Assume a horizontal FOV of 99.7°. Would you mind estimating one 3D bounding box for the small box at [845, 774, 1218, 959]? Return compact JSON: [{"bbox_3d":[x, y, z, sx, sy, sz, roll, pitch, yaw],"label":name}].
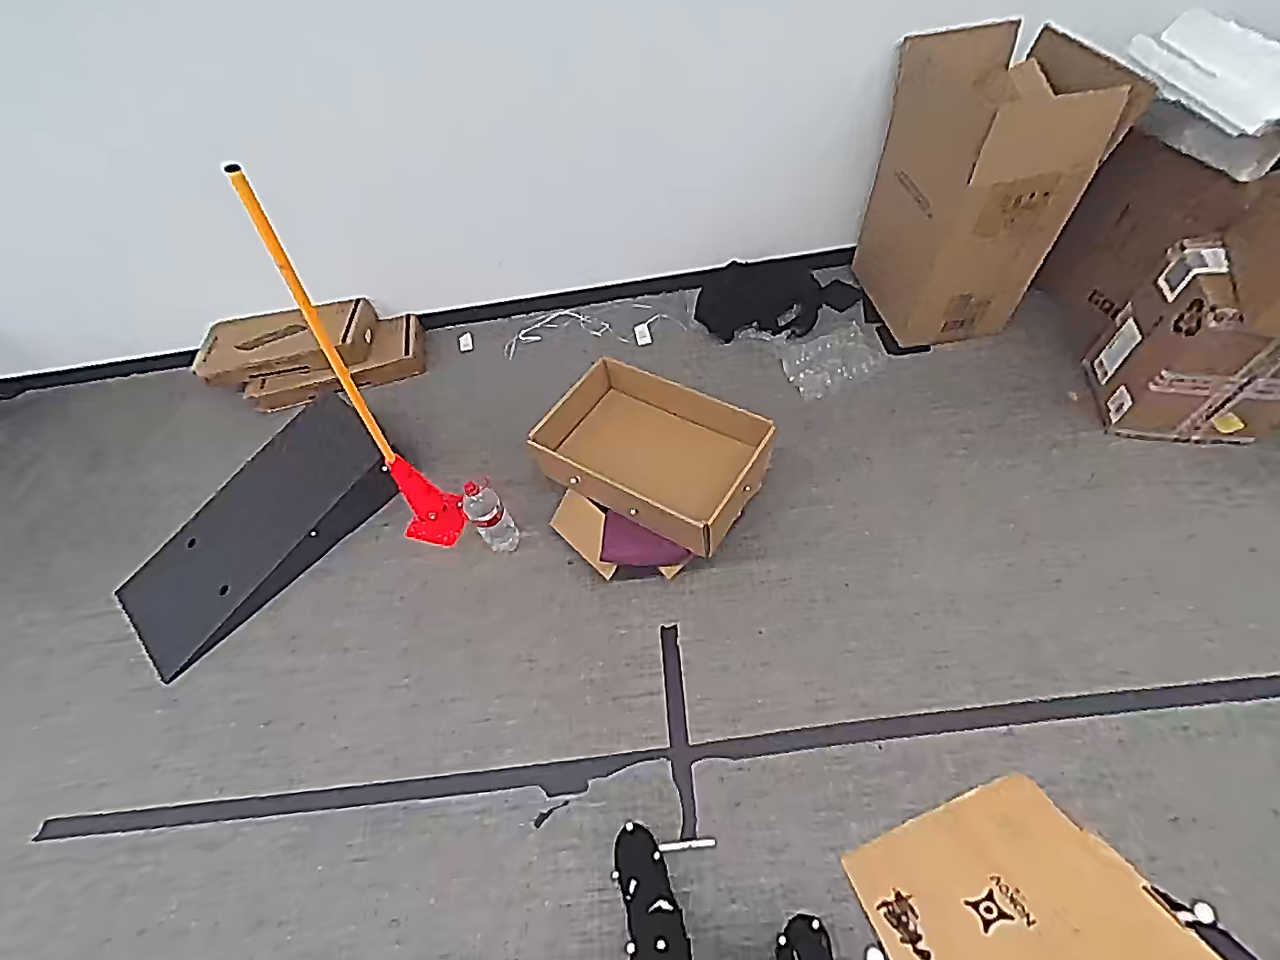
[{"bbox_3d":[0.293,0.379,0.412,0.179,0.176,0.168,-24,12,0],"label":"small box"}]
